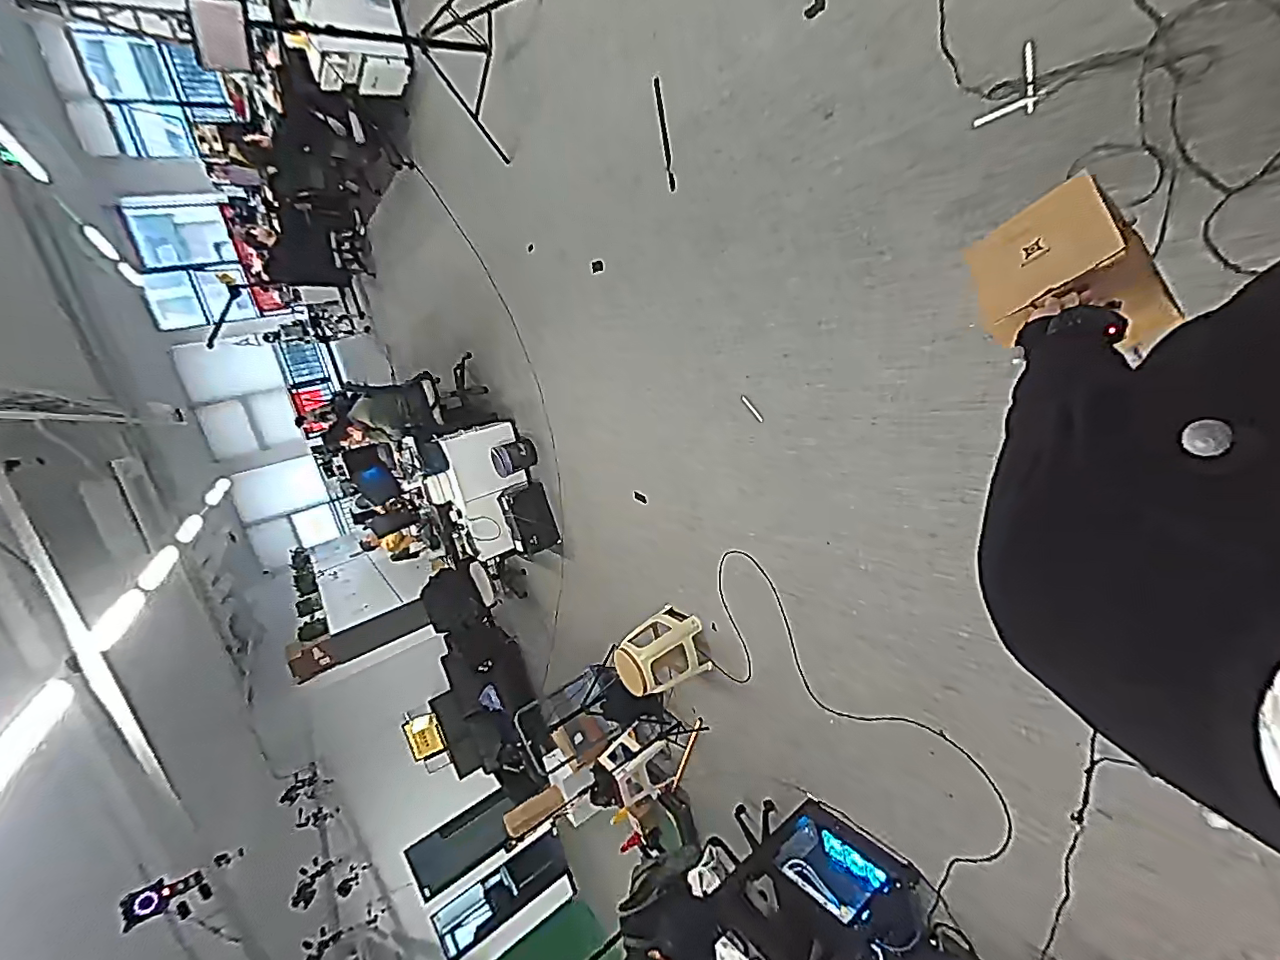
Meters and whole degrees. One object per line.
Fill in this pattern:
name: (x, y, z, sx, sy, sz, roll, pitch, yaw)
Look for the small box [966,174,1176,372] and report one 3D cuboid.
small box: (0.607, -0.279, 0.772, 0.168, 0.176, 0.179, -33, 38, 49)
